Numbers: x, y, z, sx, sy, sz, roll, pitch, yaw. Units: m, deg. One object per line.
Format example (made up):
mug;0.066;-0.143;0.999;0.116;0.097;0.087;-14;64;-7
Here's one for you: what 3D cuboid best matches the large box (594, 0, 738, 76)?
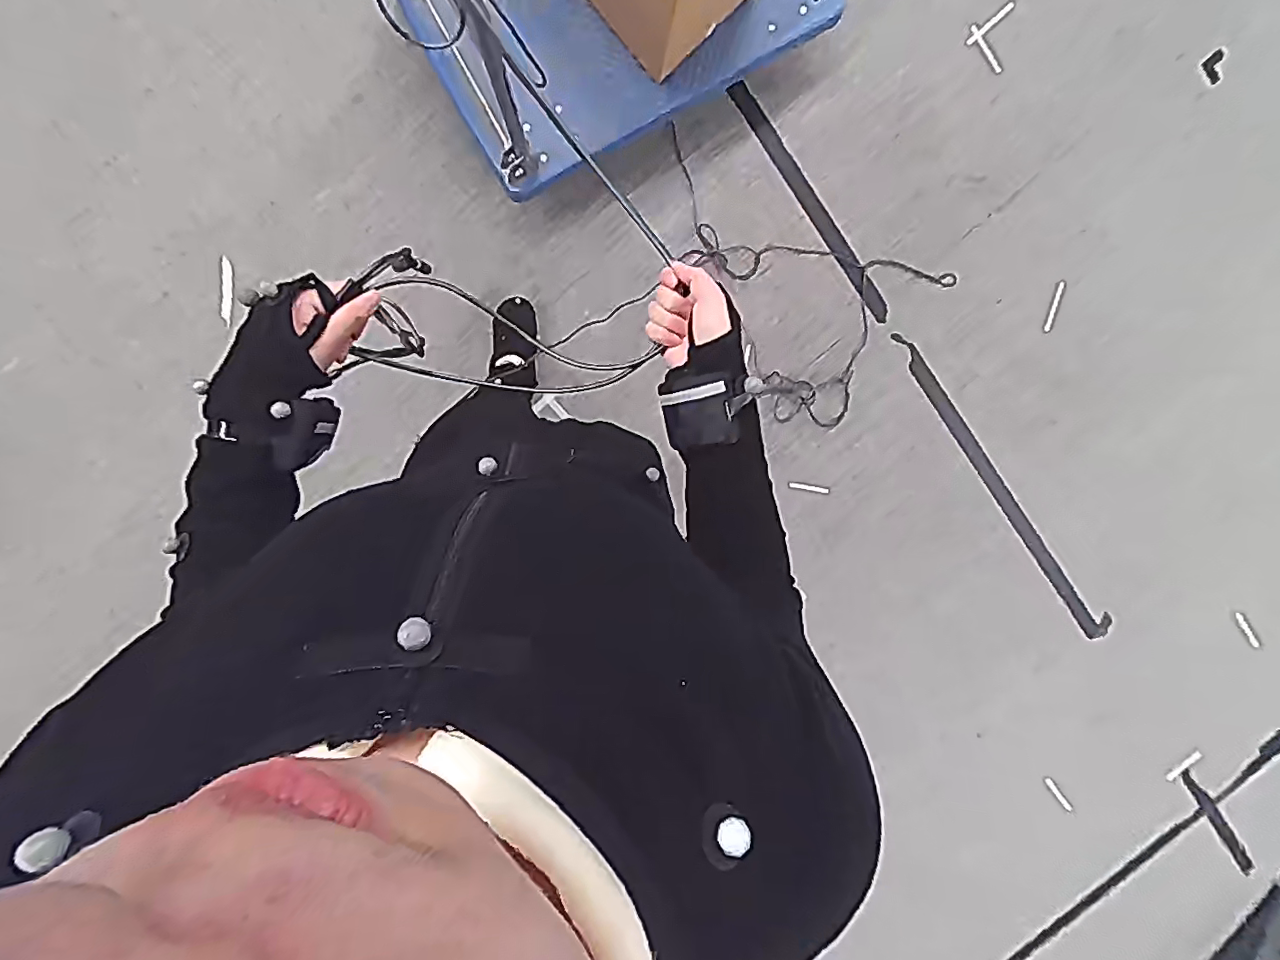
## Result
large box;0.028;-1.088;0.988;0.320;0.320;0.408;-44;101;3
